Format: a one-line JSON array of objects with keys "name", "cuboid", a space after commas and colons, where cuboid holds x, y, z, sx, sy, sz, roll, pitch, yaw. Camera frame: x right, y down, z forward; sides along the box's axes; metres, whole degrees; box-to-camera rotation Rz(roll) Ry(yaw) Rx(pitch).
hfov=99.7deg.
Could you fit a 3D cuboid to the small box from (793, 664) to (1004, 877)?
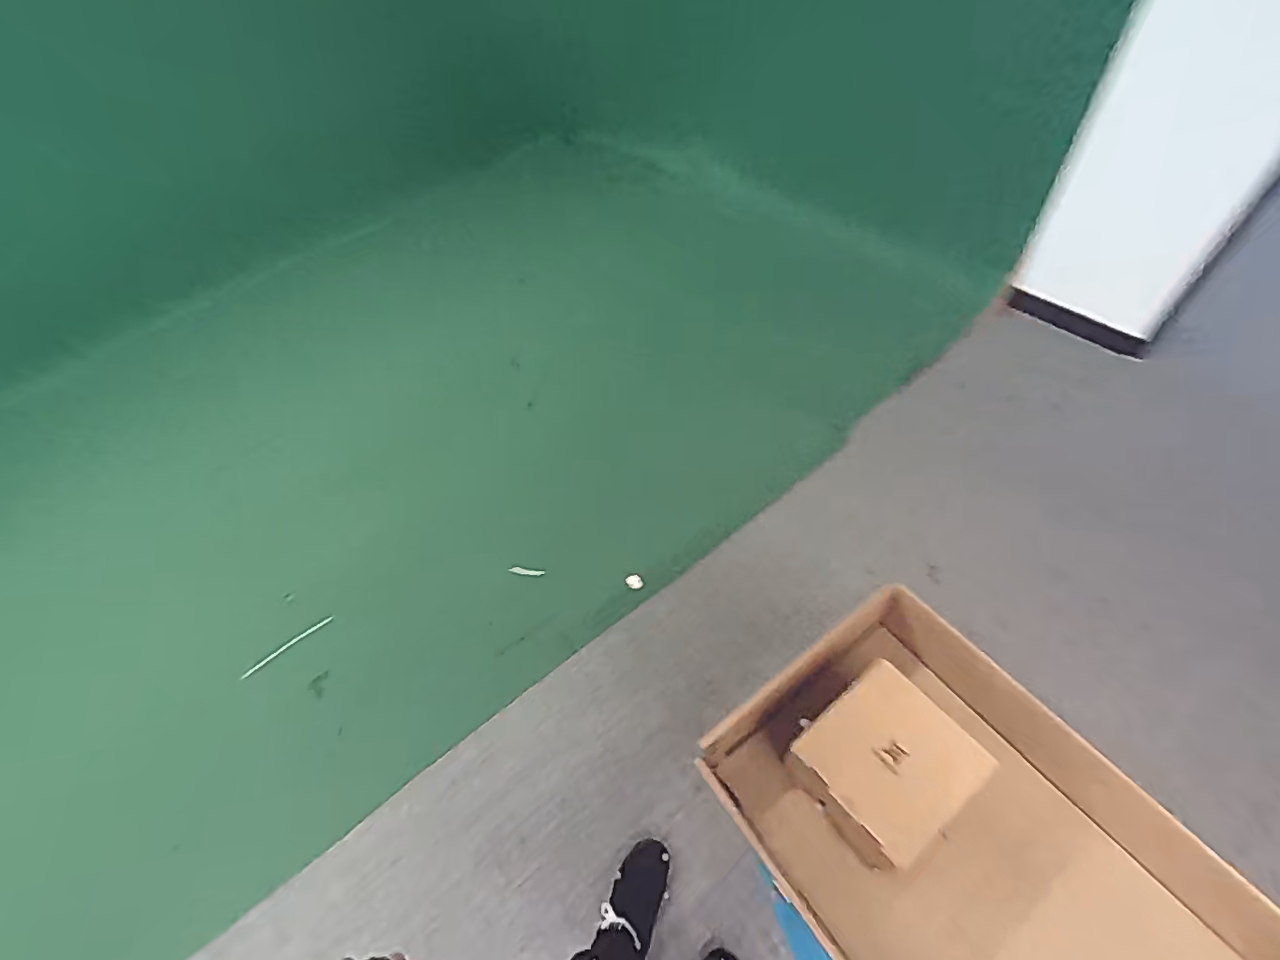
[{"name": "small box", "cuboid": [0.322, 0.381, 0.717, 0.179, 0.176, 0.168, -36, 57, -14]}]
